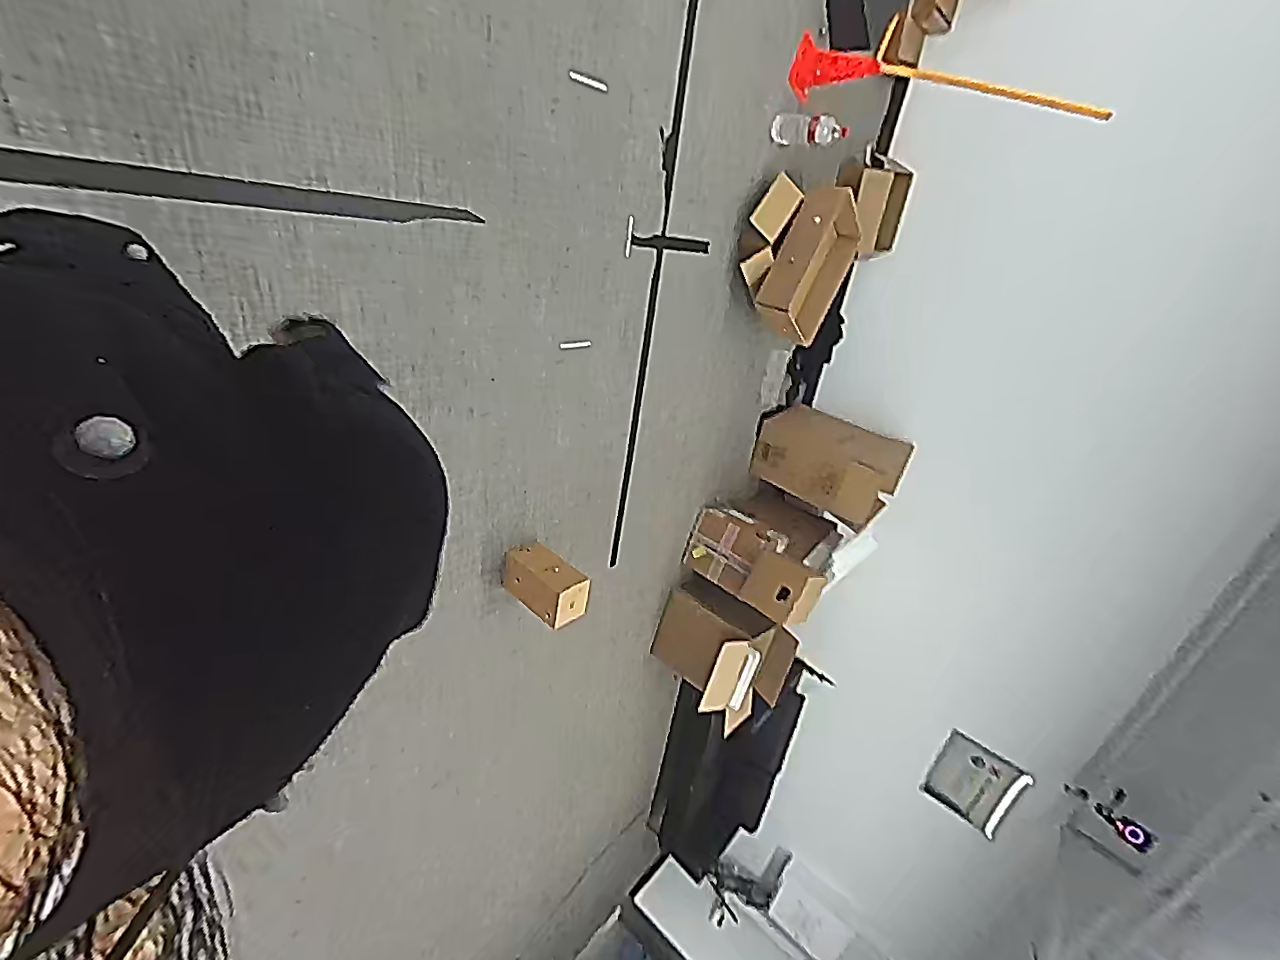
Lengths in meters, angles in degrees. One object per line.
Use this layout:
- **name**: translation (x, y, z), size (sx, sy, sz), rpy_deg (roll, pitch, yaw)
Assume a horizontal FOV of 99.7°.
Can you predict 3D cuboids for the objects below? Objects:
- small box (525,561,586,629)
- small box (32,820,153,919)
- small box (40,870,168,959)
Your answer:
- **small box**: translation (-0.339, 0.450, 2.143), size (0.168, 0.176, 0.179), rpy_deg (-18, 127, -49)
- **small box**: translation (-1.403, 1.022, 1.387), size (0.168, 0.176, 0.179), rpy_deg (-26, 134, -42)
- **small box**: translation (-1.283, 1.089, 1.296), size (0.168, 0.176, 0.179), rpy_deg (-25, 133, -43)
